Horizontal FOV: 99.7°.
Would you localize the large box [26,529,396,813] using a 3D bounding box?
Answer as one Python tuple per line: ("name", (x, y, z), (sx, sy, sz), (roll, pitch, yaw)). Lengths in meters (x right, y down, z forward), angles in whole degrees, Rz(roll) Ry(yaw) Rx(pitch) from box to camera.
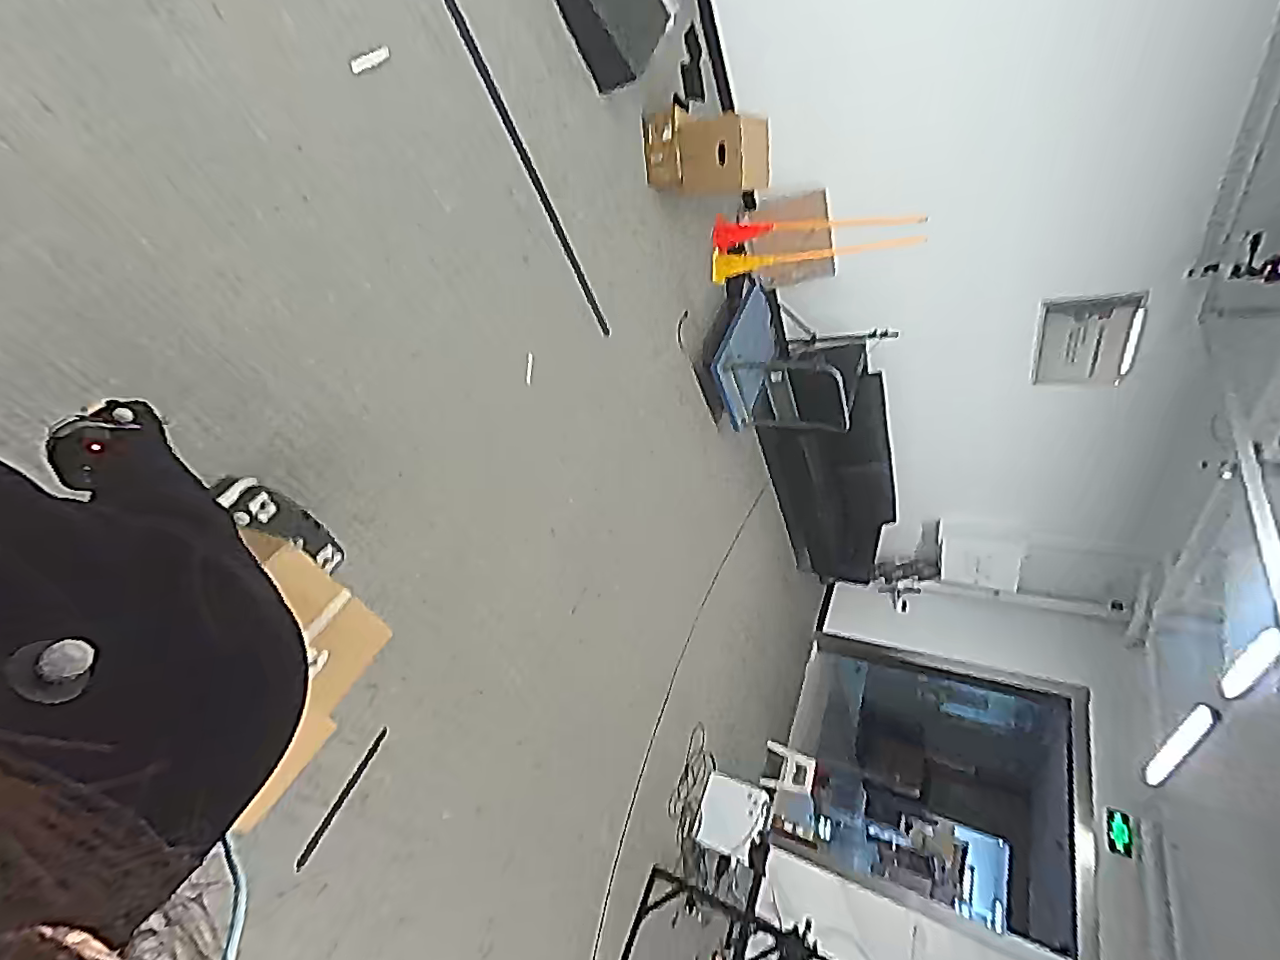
("large box", (-0.780, 0.352, 1.031), (0.408, 0.320, 0.320), (-59, 140, -36))
